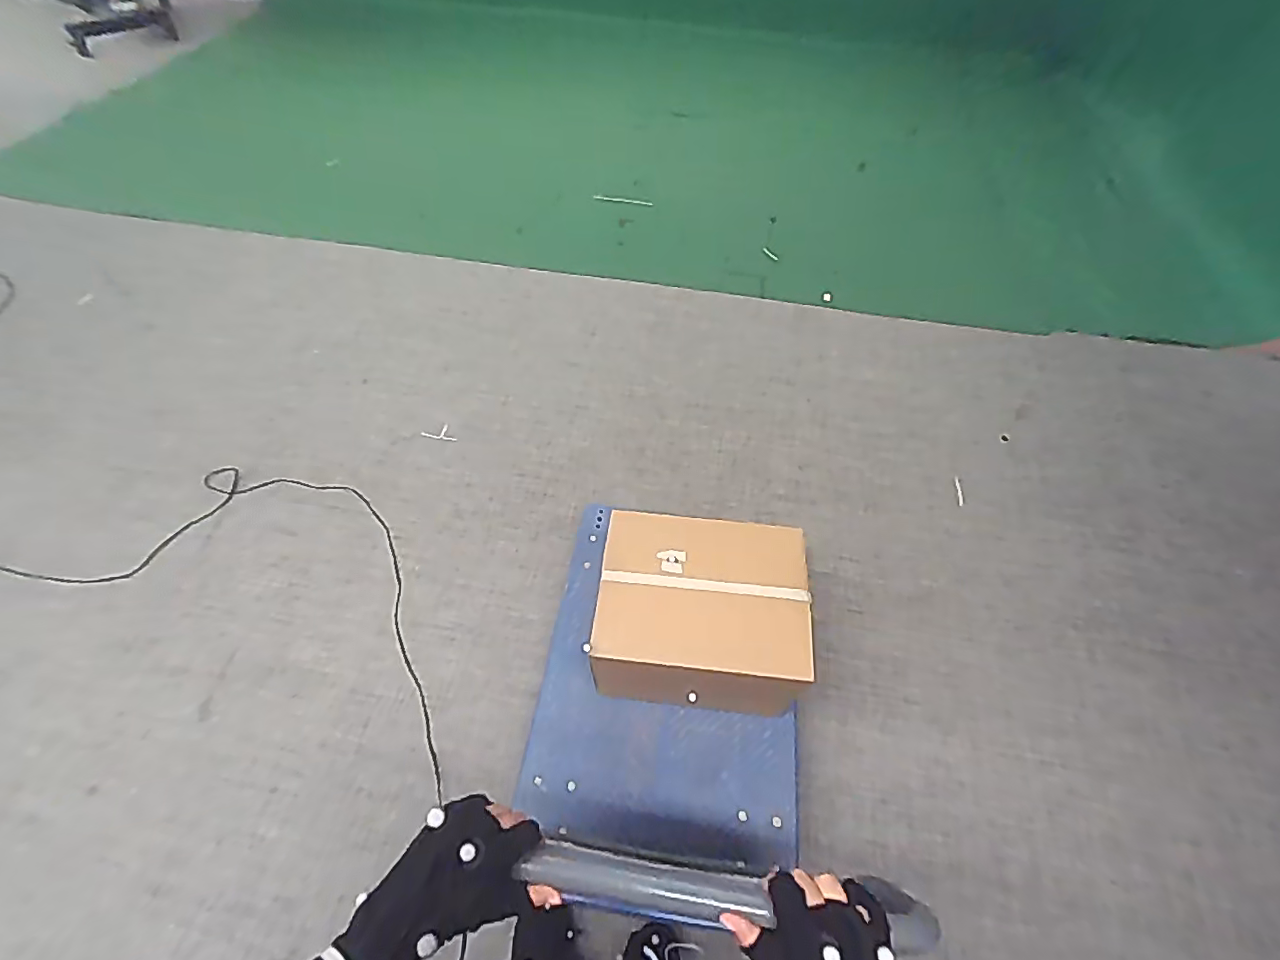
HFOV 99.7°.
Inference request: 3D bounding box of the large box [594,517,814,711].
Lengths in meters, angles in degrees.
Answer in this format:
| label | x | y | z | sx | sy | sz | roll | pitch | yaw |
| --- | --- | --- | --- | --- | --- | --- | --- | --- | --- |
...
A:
| label | x | y | z | sx | sy | sz | roll | pitch | yaw |
| --- | --- | --- | --- | --- | --- | --- | --- | --- | --- |
| large box | 0.128 | 0.299 | 1.177 | 0.408 | 0.320 | 0.320 | 4 | 55 | 4 |
